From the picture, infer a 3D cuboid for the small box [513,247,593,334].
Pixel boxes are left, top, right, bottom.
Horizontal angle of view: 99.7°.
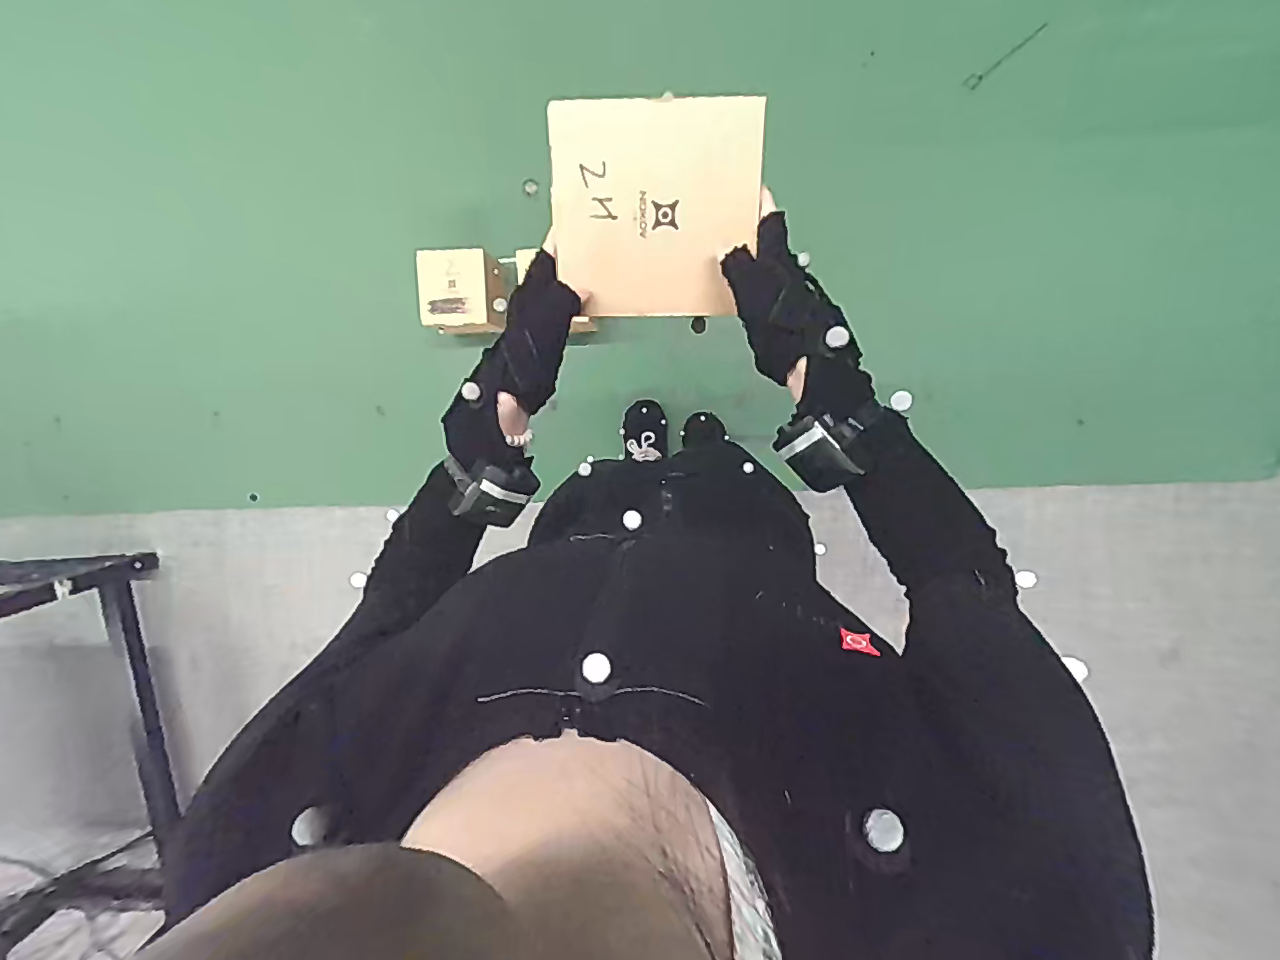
[{"bbox_3d":[-0.213,-0.469,1.357,0.168,0.176,0.179,-3,99,3],"label":"small box"}]
